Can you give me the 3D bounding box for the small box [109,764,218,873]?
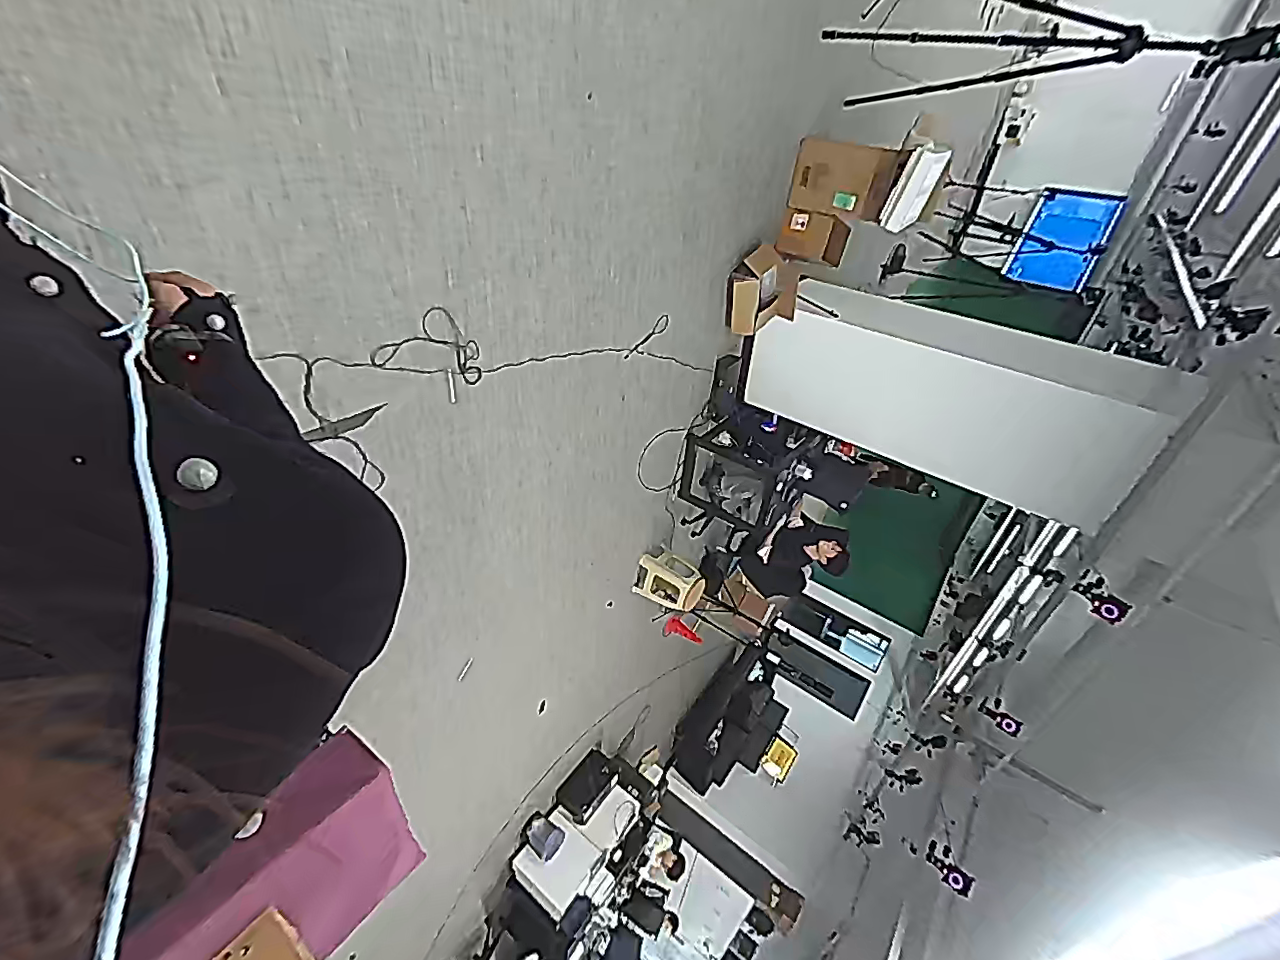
[{"bbox_3d":[-1.387,0.978,1.570,0.179,0.176,0.168,-37,143,-41],"label":"small box"}]
